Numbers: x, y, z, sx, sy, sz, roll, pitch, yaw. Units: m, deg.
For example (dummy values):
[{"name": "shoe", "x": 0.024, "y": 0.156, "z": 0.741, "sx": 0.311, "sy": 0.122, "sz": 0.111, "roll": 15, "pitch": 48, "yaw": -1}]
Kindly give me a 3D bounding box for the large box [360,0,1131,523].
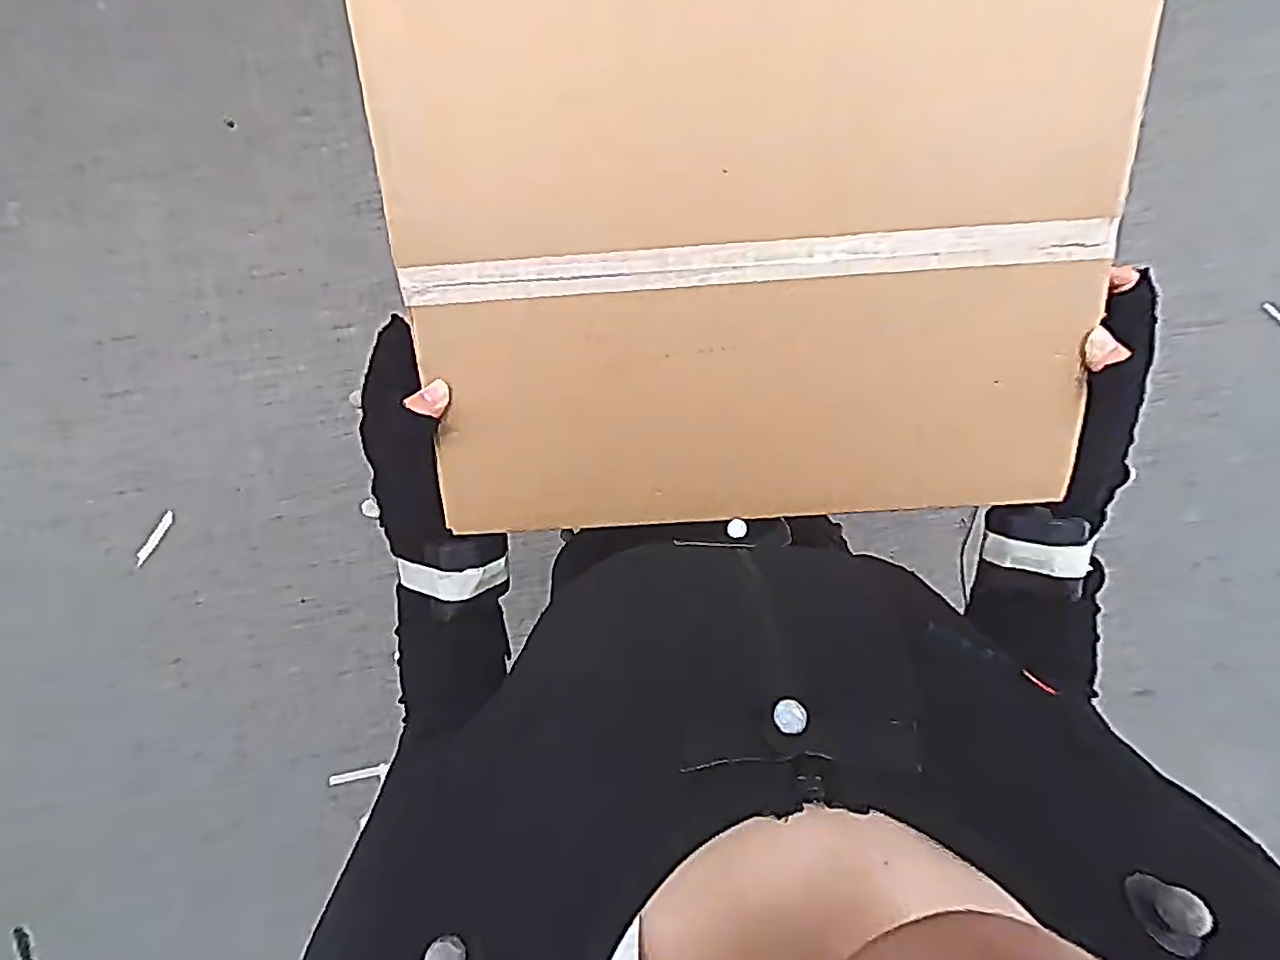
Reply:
[{"name": "large box", "x": 0.061, "y": -0.175, "z": 0.459, "sx": 0.408, "sy": 0.320, "sz": 0.320, "roll": -3, "pitch": 109, "yaw": 1}]
